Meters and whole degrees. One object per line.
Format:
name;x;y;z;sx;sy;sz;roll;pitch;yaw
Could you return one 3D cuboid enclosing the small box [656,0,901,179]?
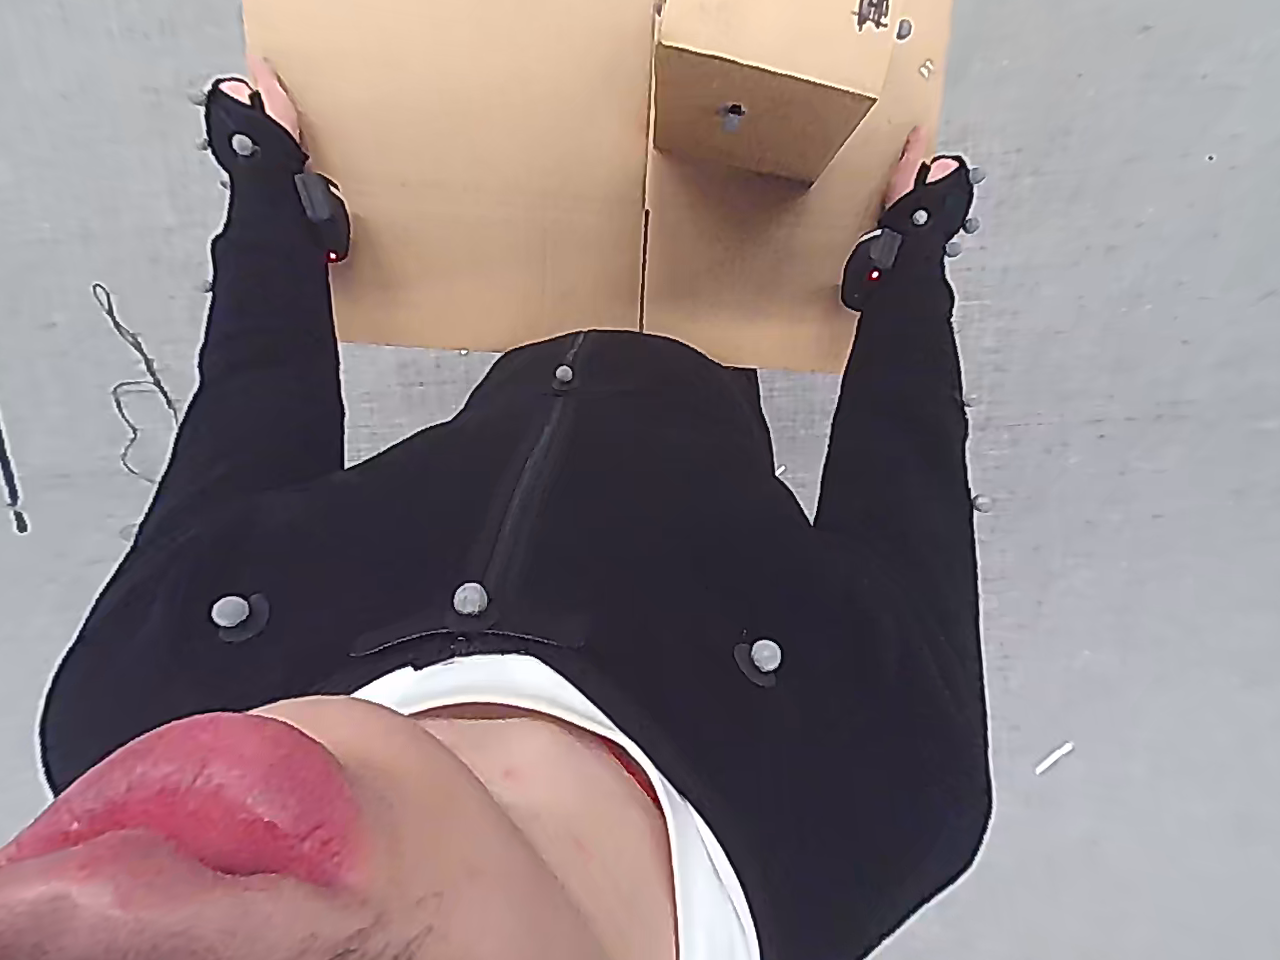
small box;0.117;-0.399;0.483;0.179;0.176;0.168;13;99;0
